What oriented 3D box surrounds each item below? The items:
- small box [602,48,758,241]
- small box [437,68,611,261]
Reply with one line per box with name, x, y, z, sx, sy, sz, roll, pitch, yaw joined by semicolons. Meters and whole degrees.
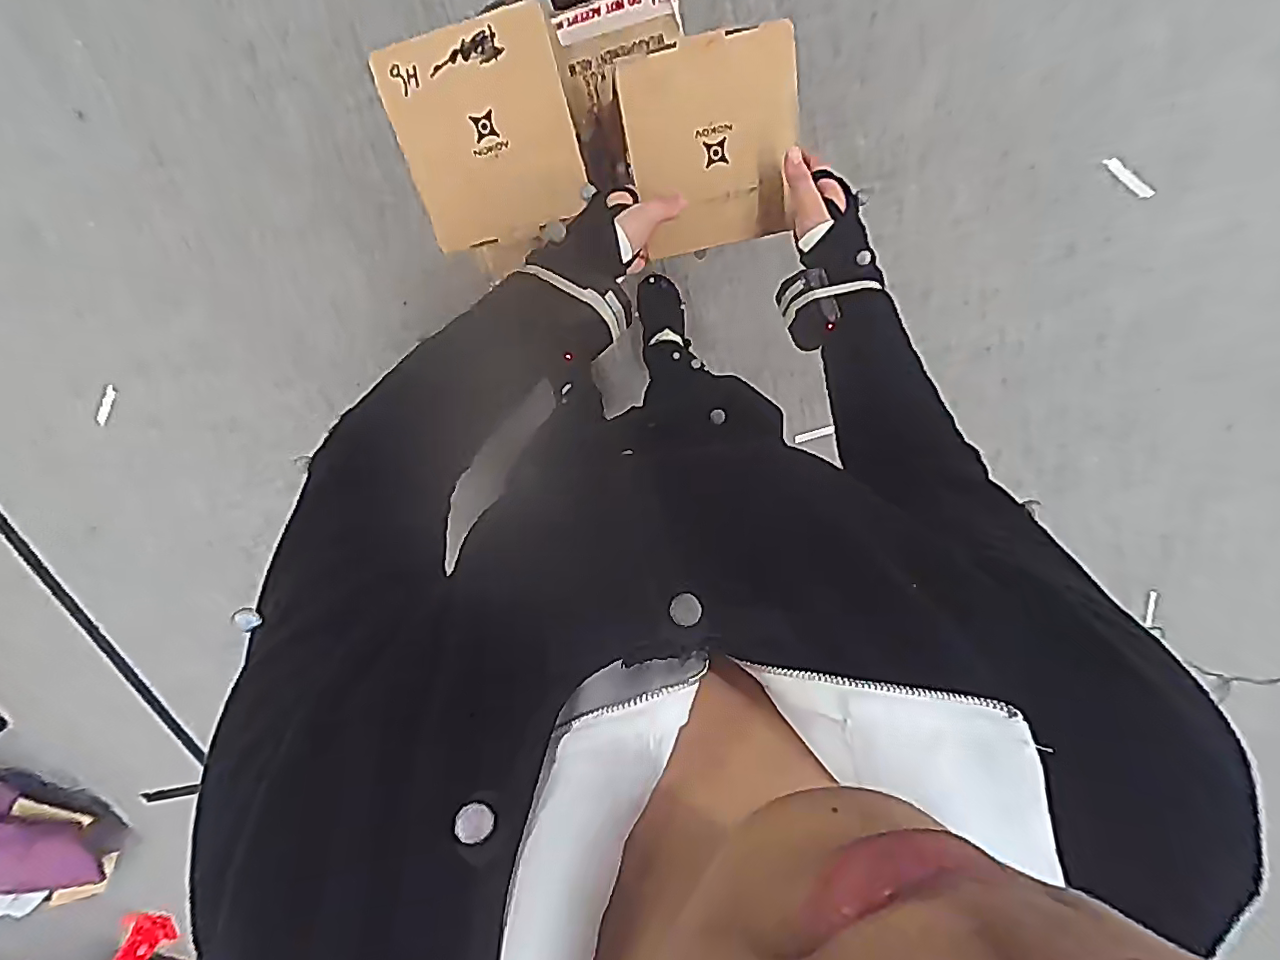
small box;0.049;-0.436;0.734;0.168;0.176;0.179;-14;115;5
small box;-0.143;-0.417;0.739;0.168;0.176;0.179;-15;116;7
